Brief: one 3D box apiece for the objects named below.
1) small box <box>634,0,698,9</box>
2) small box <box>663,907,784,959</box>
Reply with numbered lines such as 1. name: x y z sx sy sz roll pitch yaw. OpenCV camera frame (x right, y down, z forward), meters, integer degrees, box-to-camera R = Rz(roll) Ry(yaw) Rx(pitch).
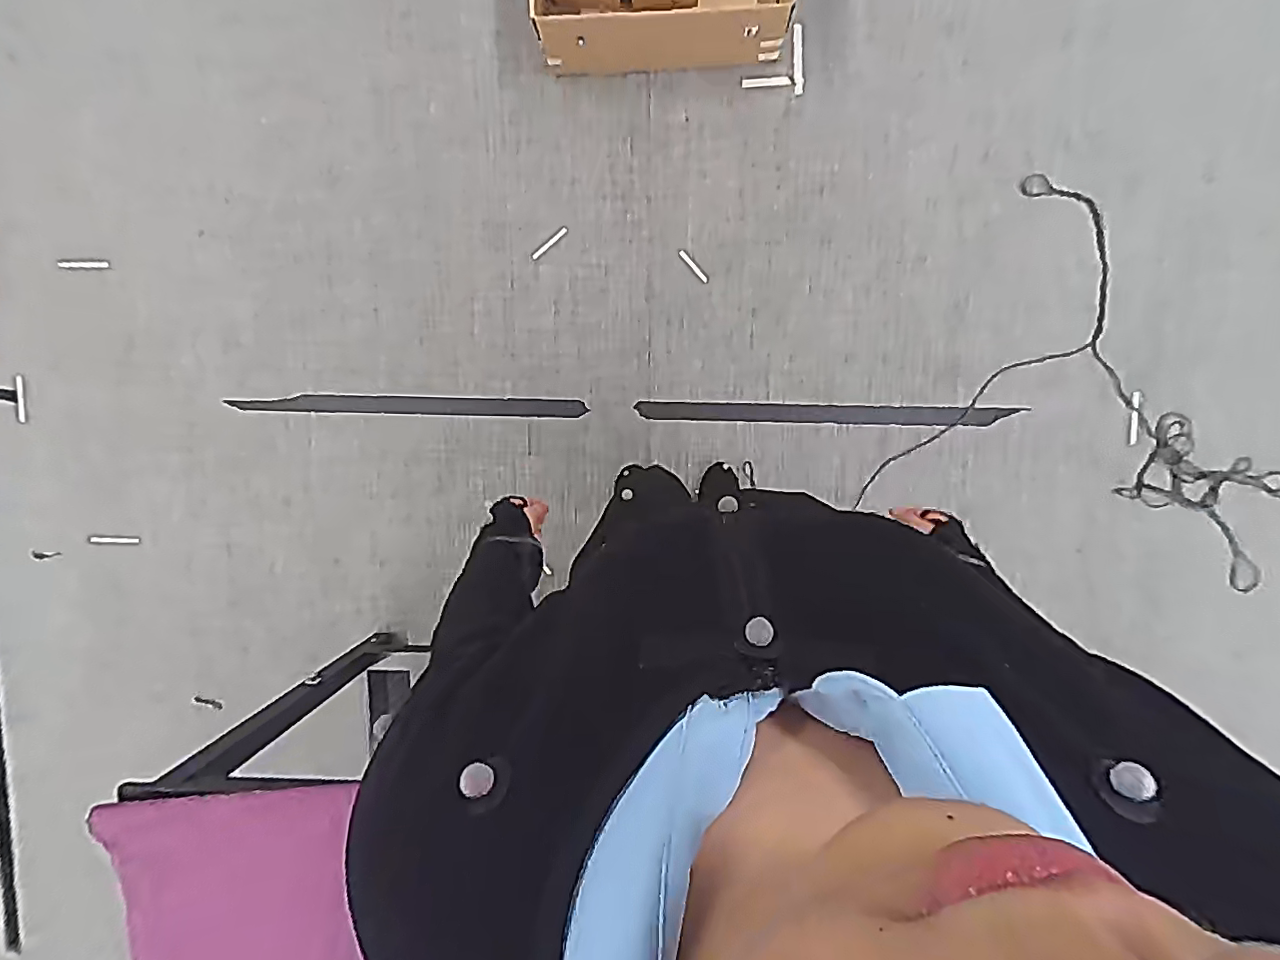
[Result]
1. small box: 0.057 -1.266 1.281 0.168 0.176 0.179 -4 94 3
2. small box: 0.117 0.730 0.728 0.168 0.176 0.179 -3 93 5
